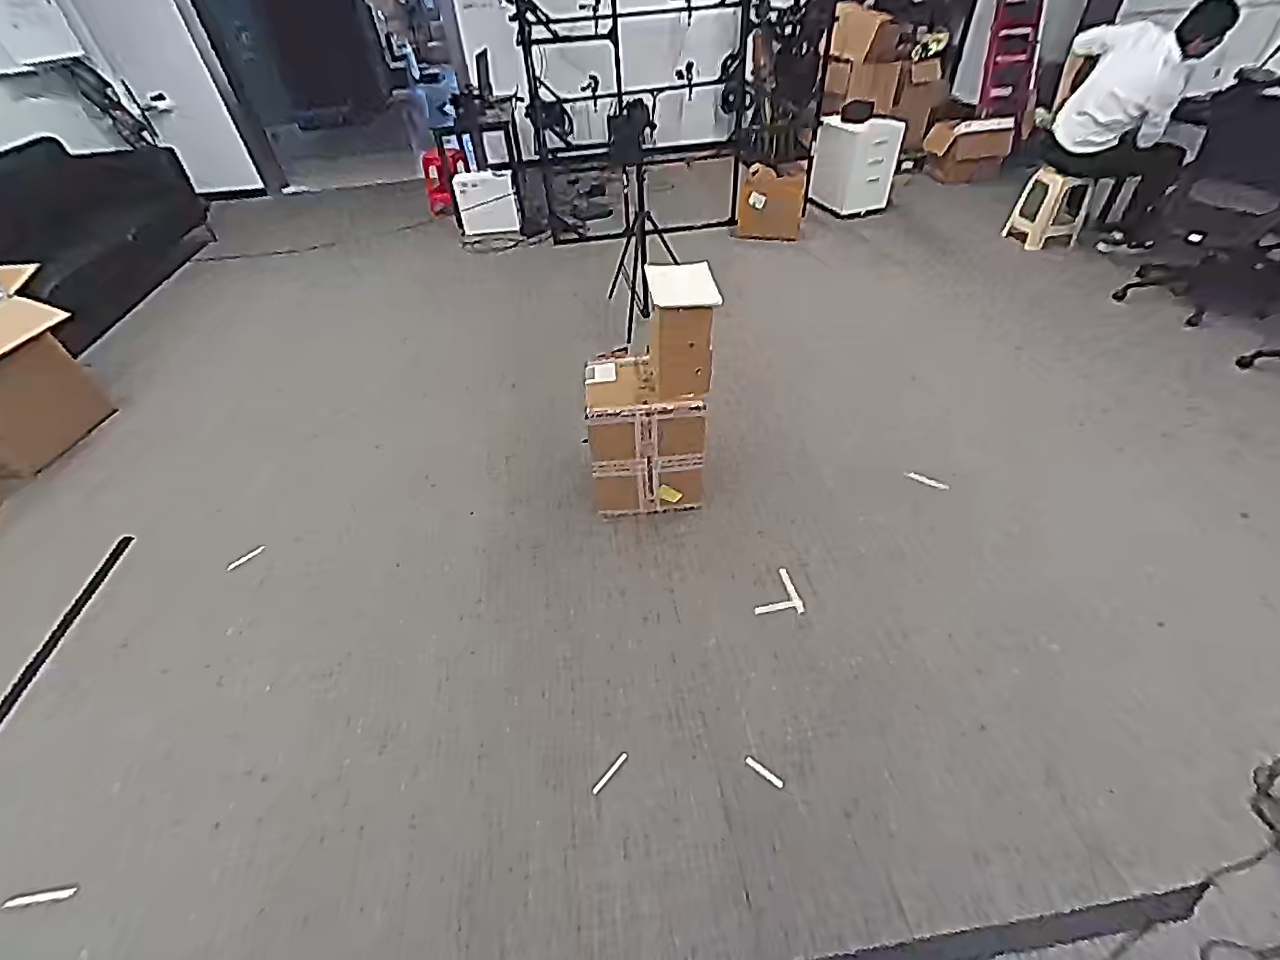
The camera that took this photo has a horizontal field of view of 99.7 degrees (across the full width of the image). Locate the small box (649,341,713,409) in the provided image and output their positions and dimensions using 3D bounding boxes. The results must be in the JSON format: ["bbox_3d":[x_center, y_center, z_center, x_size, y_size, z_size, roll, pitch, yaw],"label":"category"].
[{"bbox_3d":[0.129,-0.353,1.780,0.179,0.176,0.168,-9,44,-6],"label":"small box"}]

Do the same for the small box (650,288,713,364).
[{"bbox_3d":[0.122,-0.477,1.673,0.168,0.176,0.179,-6,44,-5],"label":"small box"}]
